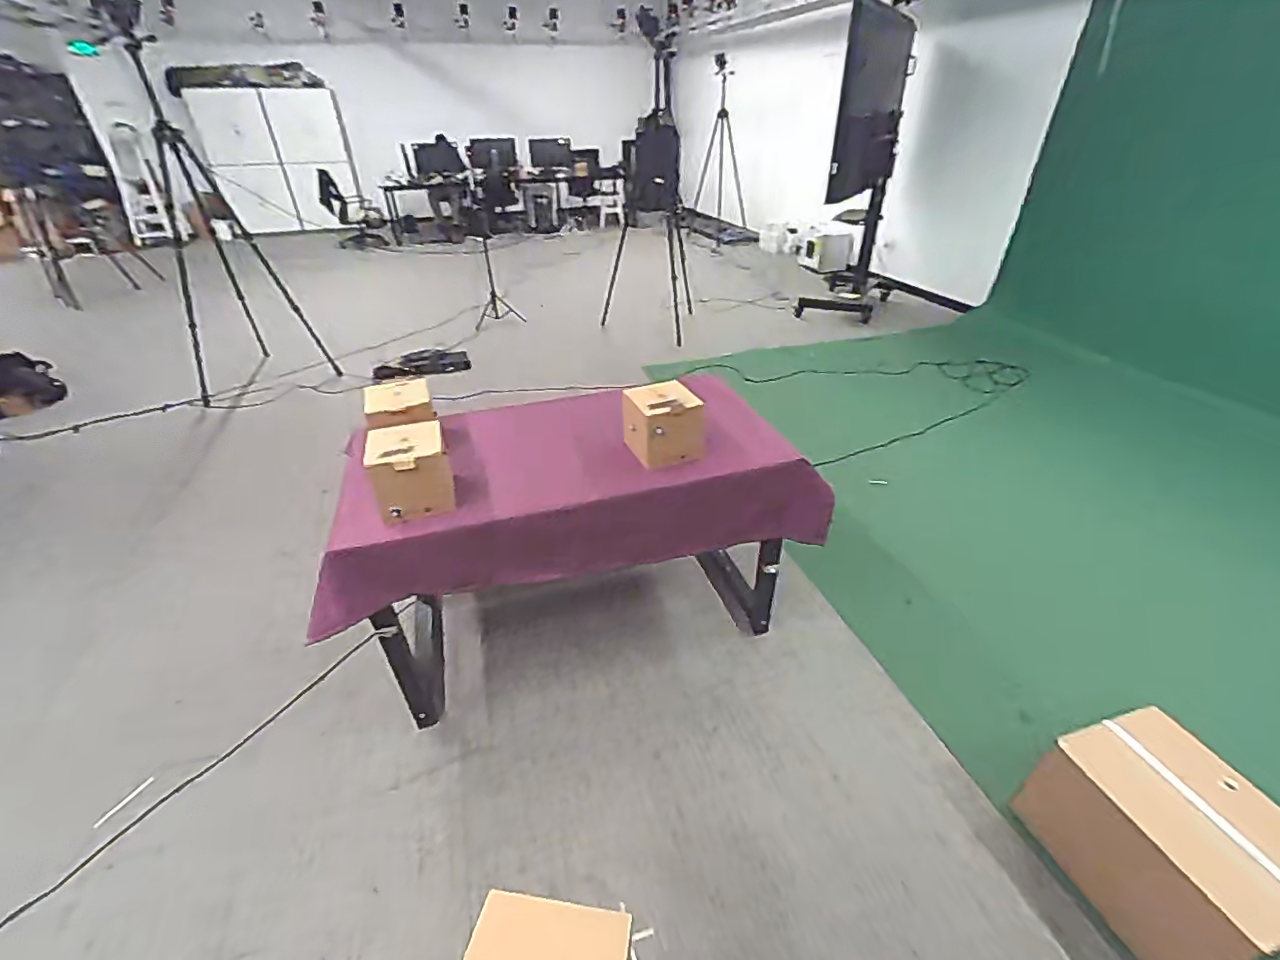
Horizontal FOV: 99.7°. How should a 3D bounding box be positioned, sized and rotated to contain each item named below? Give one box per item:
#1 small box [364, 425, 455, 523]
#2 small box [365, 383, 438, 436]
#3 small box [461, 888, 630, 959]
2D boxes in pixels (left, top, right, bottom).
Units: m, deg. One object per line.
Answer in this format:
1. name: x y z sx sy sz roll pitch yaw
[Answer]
1. small box: -0.553 -0.011 1.317 0.168 0.176 0.179 -12 34 -15
2. small box: -0.665 -0.153 1.530 0.168 0.176 0.179 -13 37 -18
3. small box: -0.107 0.572 0.550 0.168 0.176 0.179 4 20 7
